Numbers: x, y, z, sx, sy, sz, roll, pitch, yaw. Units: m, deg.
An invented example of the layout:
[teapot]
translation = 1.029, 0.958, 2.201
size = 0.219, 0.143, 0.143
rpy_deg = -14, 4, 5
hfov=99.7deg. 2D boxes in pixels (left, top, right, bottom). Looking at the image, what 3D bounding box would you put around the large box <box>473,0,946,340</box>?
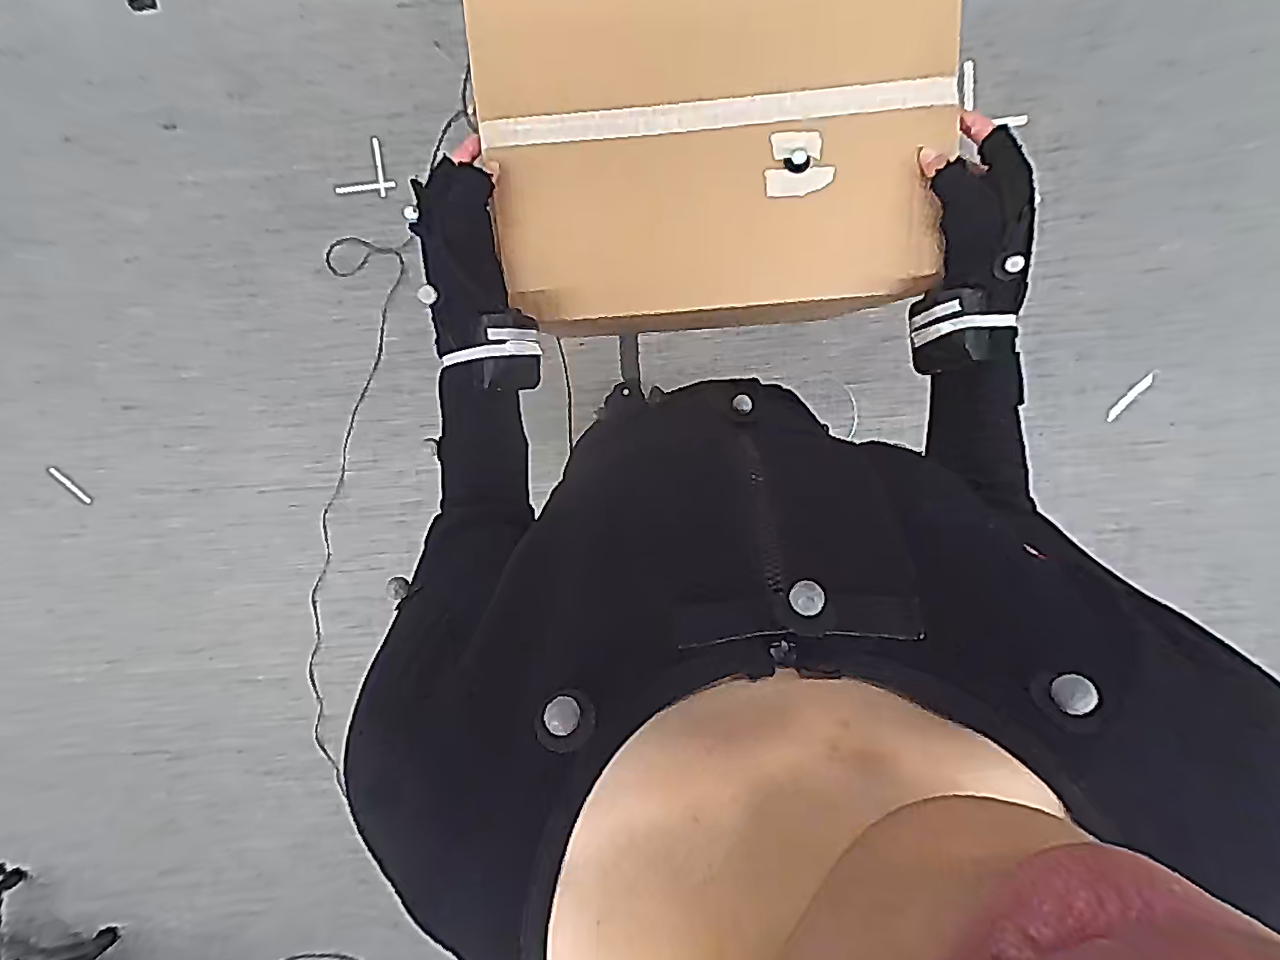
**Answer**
[large box]
translation = 0.064, -0.345, 0.620
size = 0.408, 0.320, 0.320
rpy_deg = -4, 102, 1
